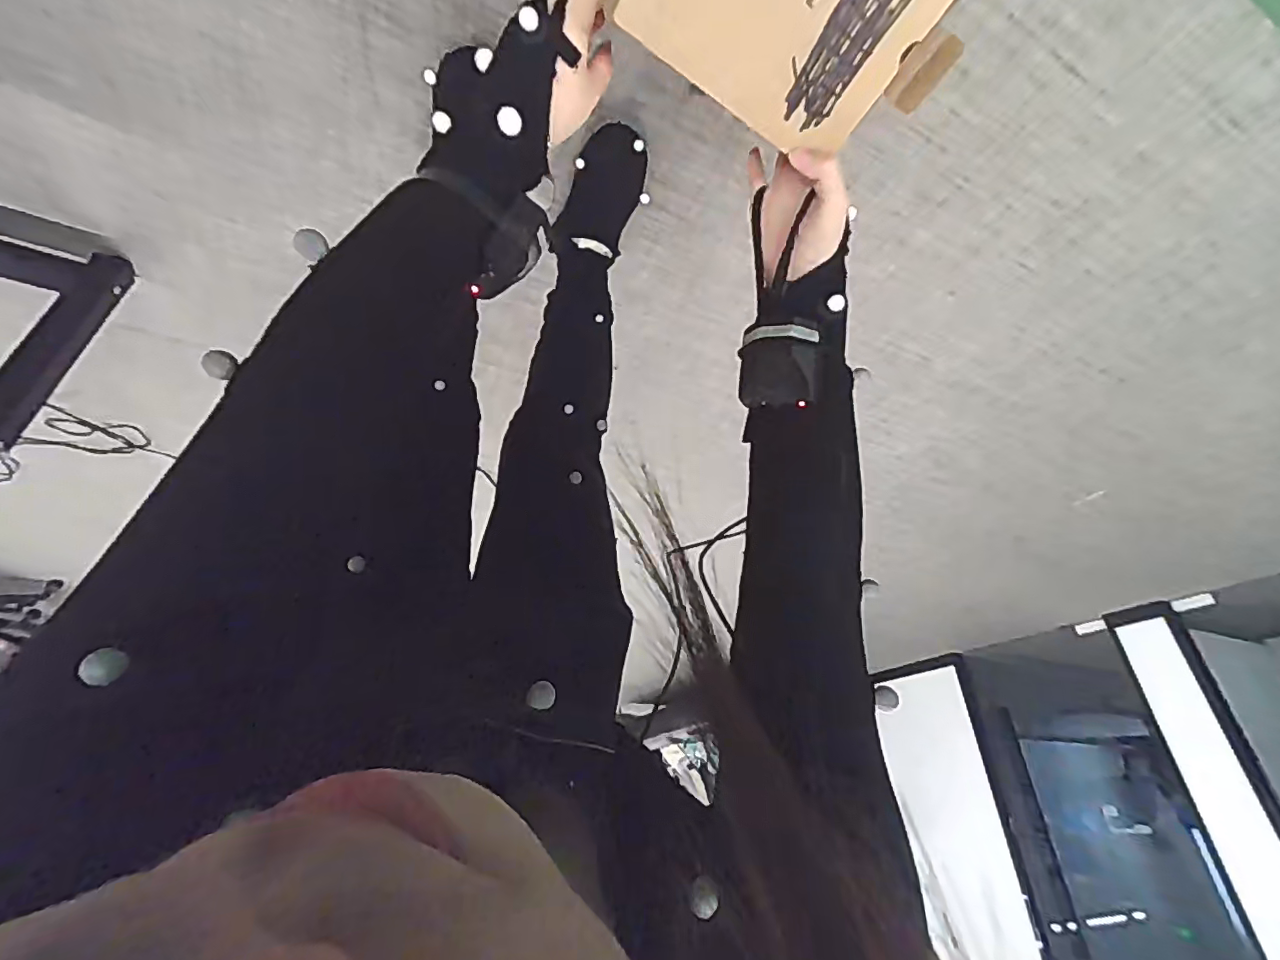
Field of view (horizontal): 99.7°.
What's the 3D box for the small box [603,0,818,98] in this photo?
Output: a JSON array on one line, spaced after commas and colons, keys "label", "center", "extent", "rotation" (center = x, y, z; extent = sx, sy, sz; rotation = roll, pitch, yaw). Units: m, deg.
[{"label": "small box", "center": [0.076, -0.484, 0.452], "extent": [0.168, 0.176, 0.179], "rotation": [15, 145, -24]}]
